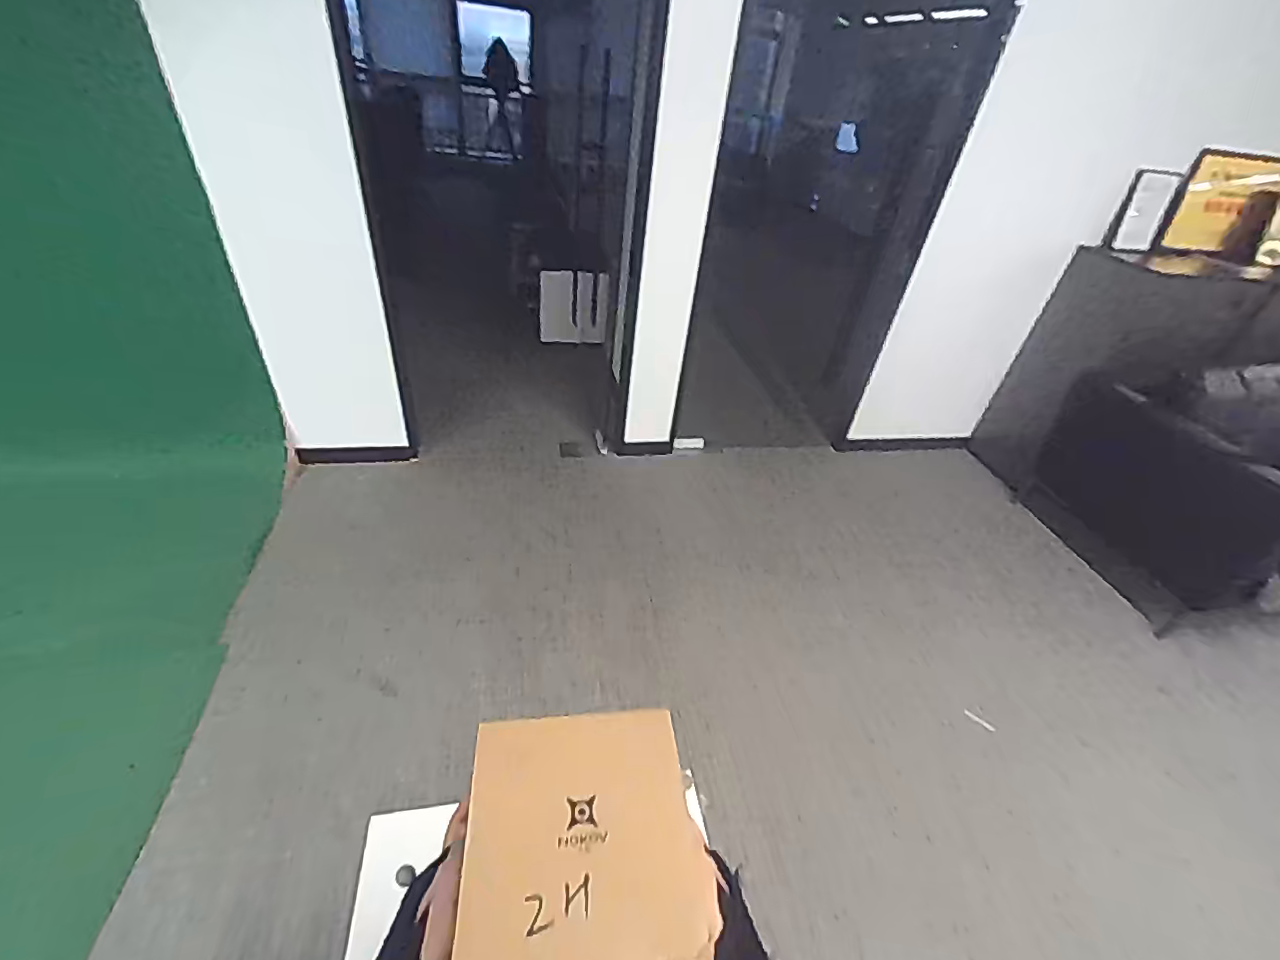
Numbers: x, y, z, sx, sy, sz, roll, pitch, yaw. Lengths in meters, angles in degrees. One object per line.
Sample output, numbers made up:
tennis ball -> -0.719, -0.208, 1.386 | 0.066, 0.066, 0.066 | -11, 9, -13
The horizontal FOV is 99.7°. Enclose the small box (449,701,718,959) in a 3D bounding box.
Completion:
small box -> -0.048, 0.308, 0.437 | 0.168, 0.176, 0.179 | 0, 35, -8
